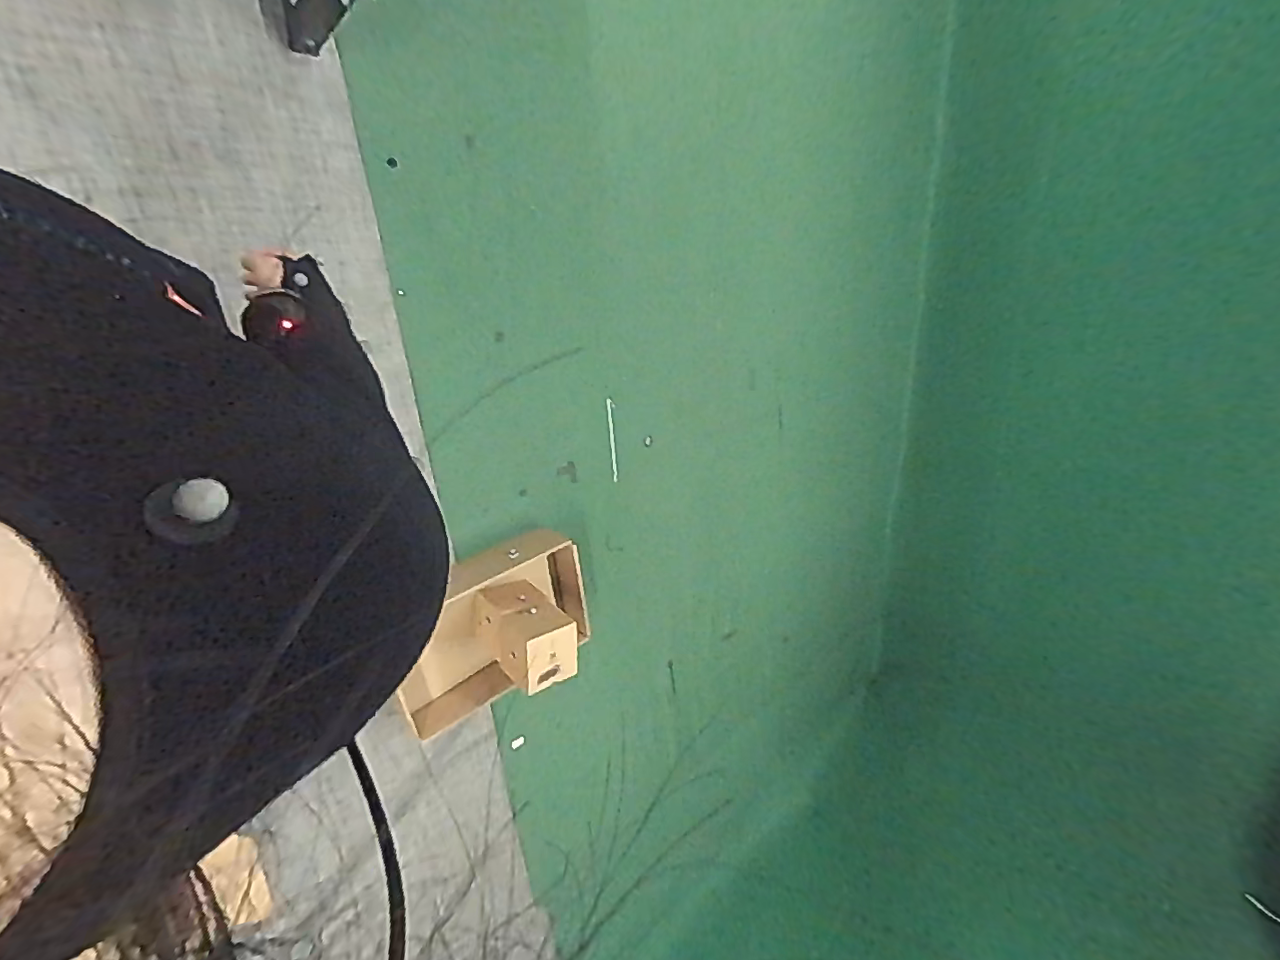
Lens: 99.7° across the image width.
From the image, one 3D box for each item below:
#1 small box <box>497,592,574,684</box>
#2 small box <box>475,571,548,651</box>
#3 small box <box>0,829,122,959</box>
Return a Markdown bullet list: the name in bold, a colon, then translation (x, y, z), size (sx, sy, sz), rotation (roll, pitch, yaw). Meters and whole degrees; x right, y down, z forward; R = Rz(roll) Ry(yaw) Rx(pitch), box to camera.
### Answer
- **small box**: translation (-0.309, 0.457, 1.588), size (0.168, 0.176, 0.179), rotation (-12, 112, -39)
- **small box**: translation (-0.410, 0.407, 1.709), size (0.179, 0.176, 0.168), rotation (-8, 111, -40)
- **small box**: translation (-1.102, 0.803, 0.999), size (0.179, 0.176, 0.168), rotation (-20, 115, -37)
